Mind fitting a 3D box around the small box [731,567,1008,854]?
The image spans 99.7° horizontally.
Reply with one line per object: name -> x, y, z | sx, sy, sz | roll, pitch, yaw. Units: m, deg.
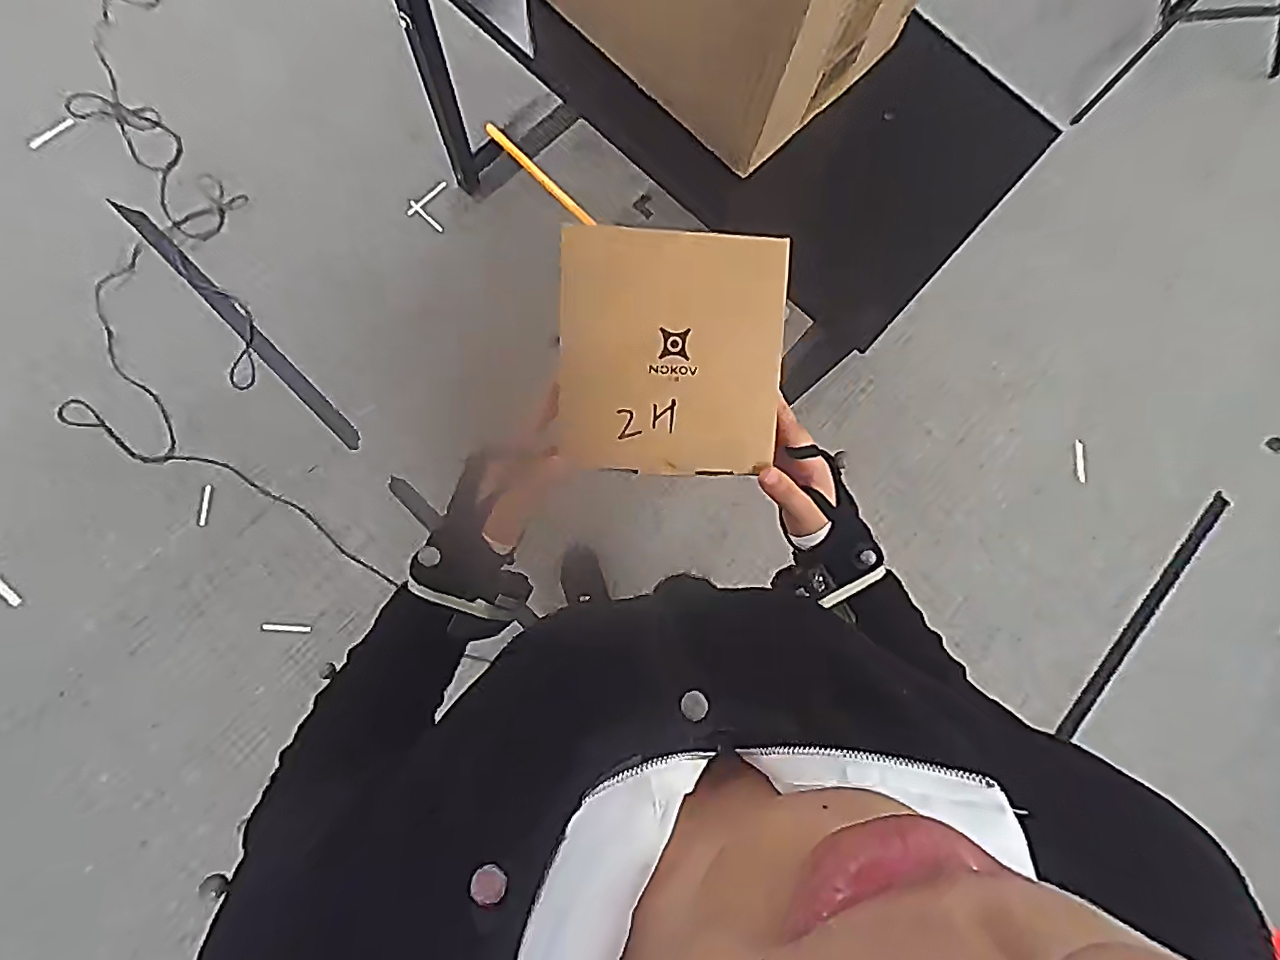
small box -> 0.190, 0.206, 0.491 | 0.179, 0.176, 0.168 | 10, 119, -1
